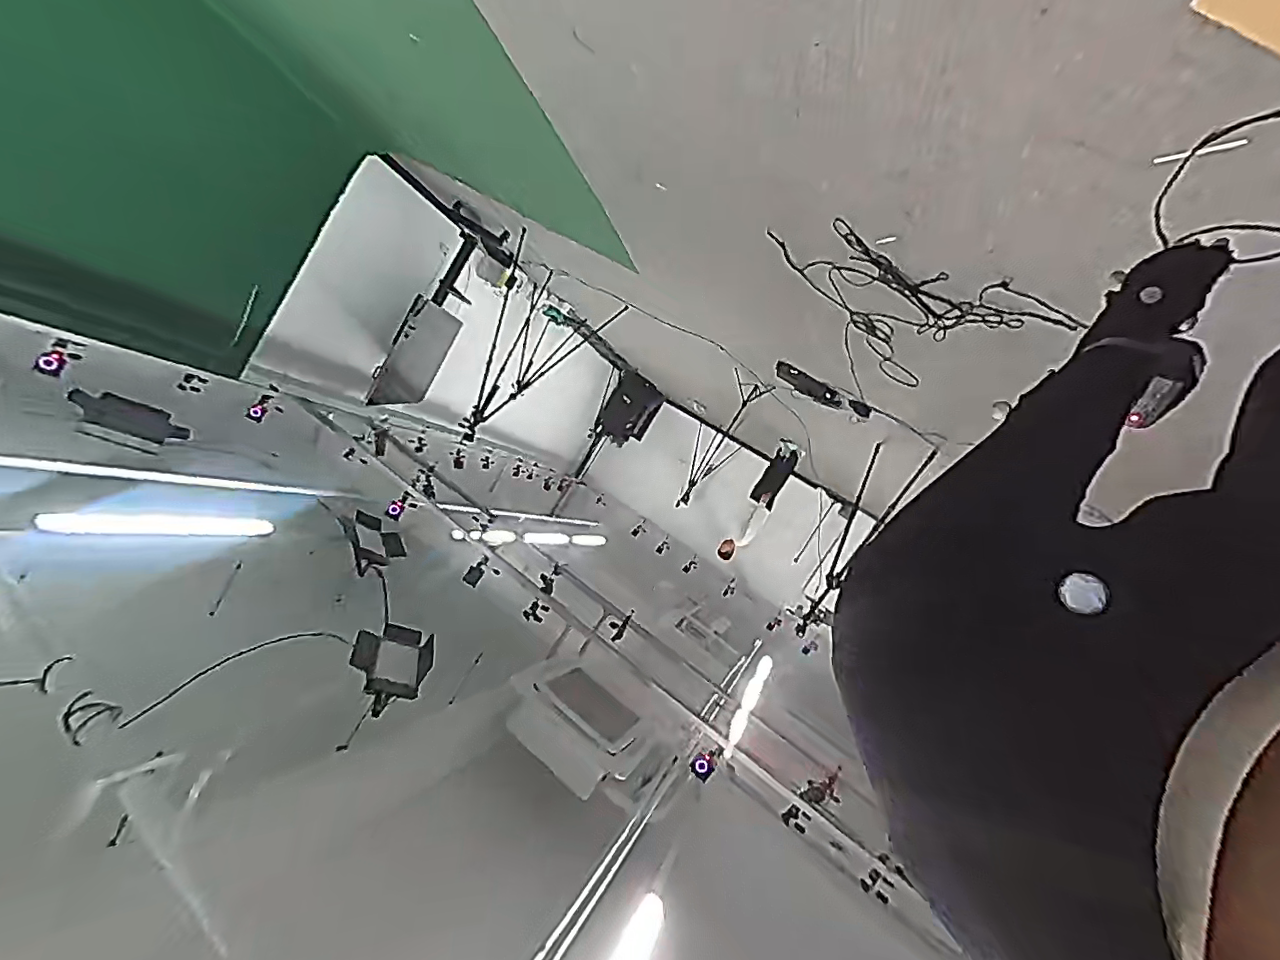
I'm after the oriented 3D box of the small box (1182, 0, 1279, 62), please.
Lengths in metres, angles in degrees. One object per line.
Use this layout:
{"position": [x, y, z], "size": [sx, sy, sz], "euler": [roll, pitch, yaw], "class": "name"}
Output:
{"position": [0.832, -0.657, 0.635], "size": [0.179, 0.176, 0.168], "euler": [32, -177, 5], "class": "small box"}
